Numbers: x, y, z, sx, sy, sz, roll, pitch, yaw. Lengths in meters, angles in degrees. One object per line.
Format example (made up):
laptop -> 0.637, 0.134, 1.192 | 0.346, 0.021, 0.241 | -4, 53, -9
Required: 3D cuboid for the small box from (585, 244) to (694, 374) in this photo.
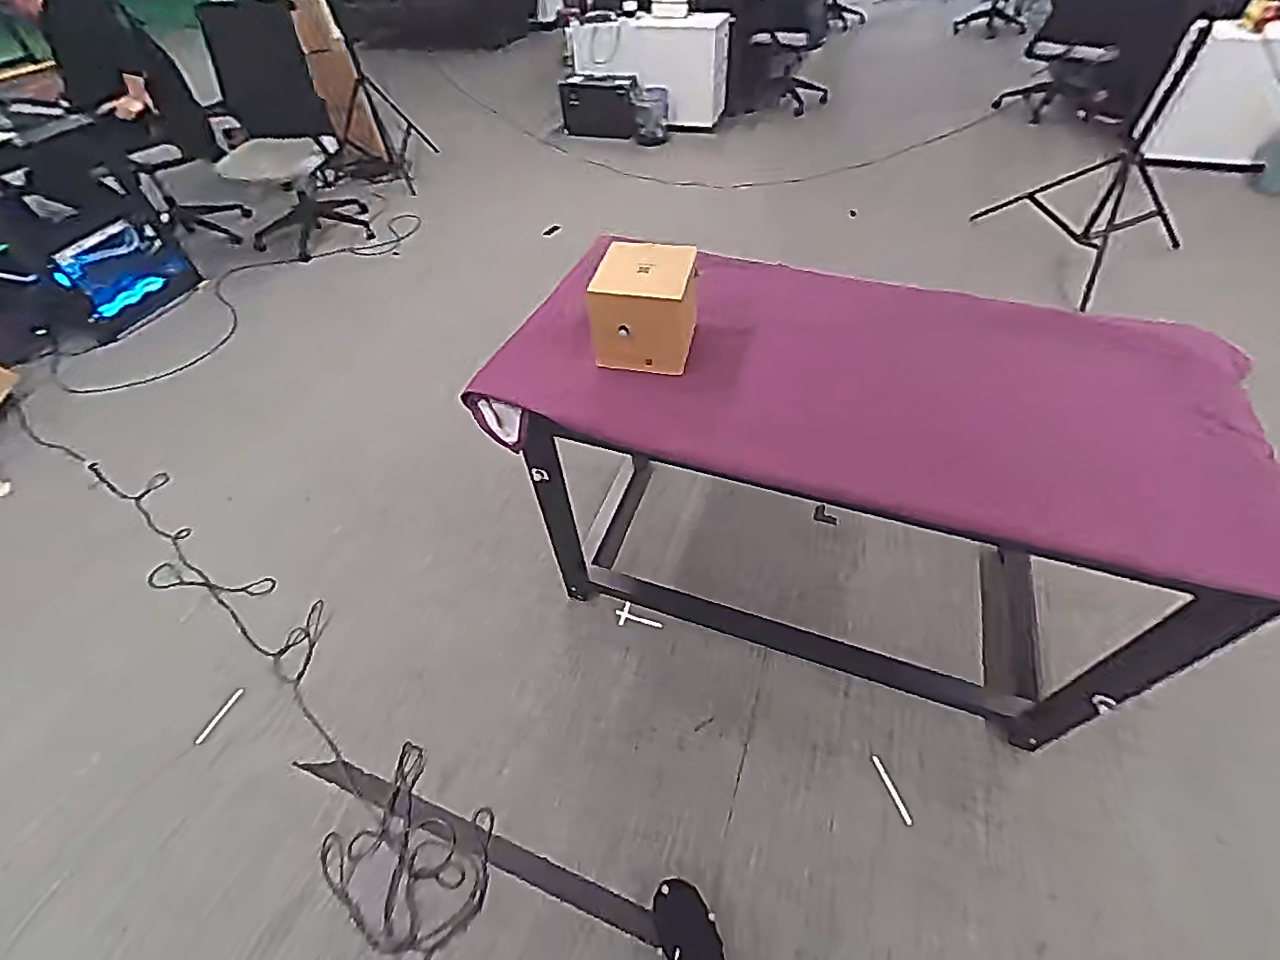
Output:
small box -> 0.009, -0.321, 1.019 | 0.168, 0.176, 0.179 | 8, 51, 10
